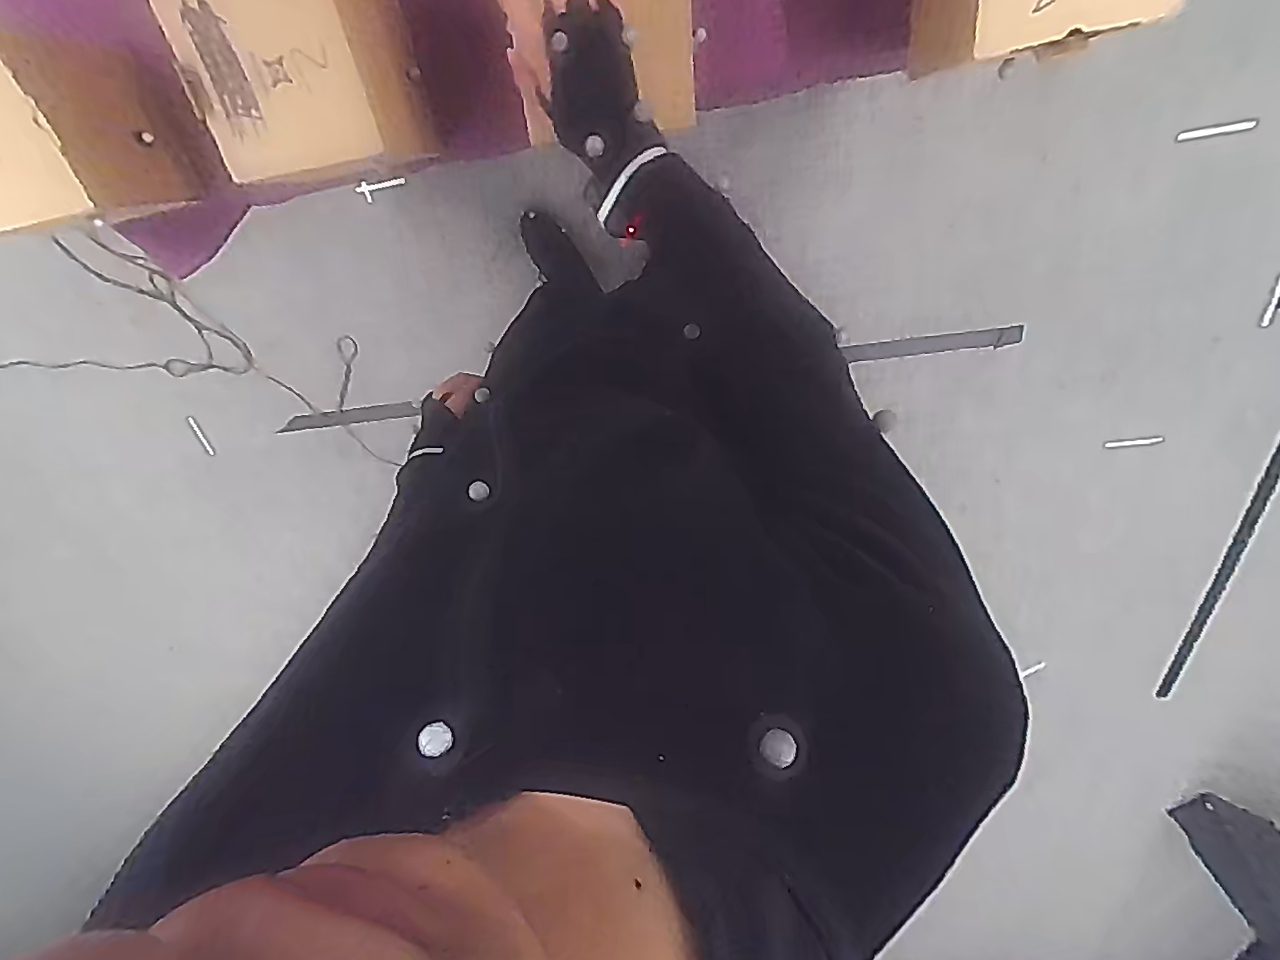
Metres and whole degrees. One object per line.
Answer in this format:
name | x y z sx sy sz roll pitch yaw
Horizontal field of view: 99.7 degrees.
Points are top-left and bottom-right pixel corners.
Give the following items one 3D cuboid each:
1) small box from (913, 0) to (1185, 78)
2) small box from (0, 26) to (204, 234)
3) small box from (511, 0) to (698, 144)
small box | 0.365 -0.497 0.491 0.168 0.176 0.179 -7 121 9
small box | -0.684 -0.396 0.636 0.179 0.176 0.168 -9 120 8
small box | -0.028 -0.452 0.551 0.168 0.176 0.179 -2 122 6
